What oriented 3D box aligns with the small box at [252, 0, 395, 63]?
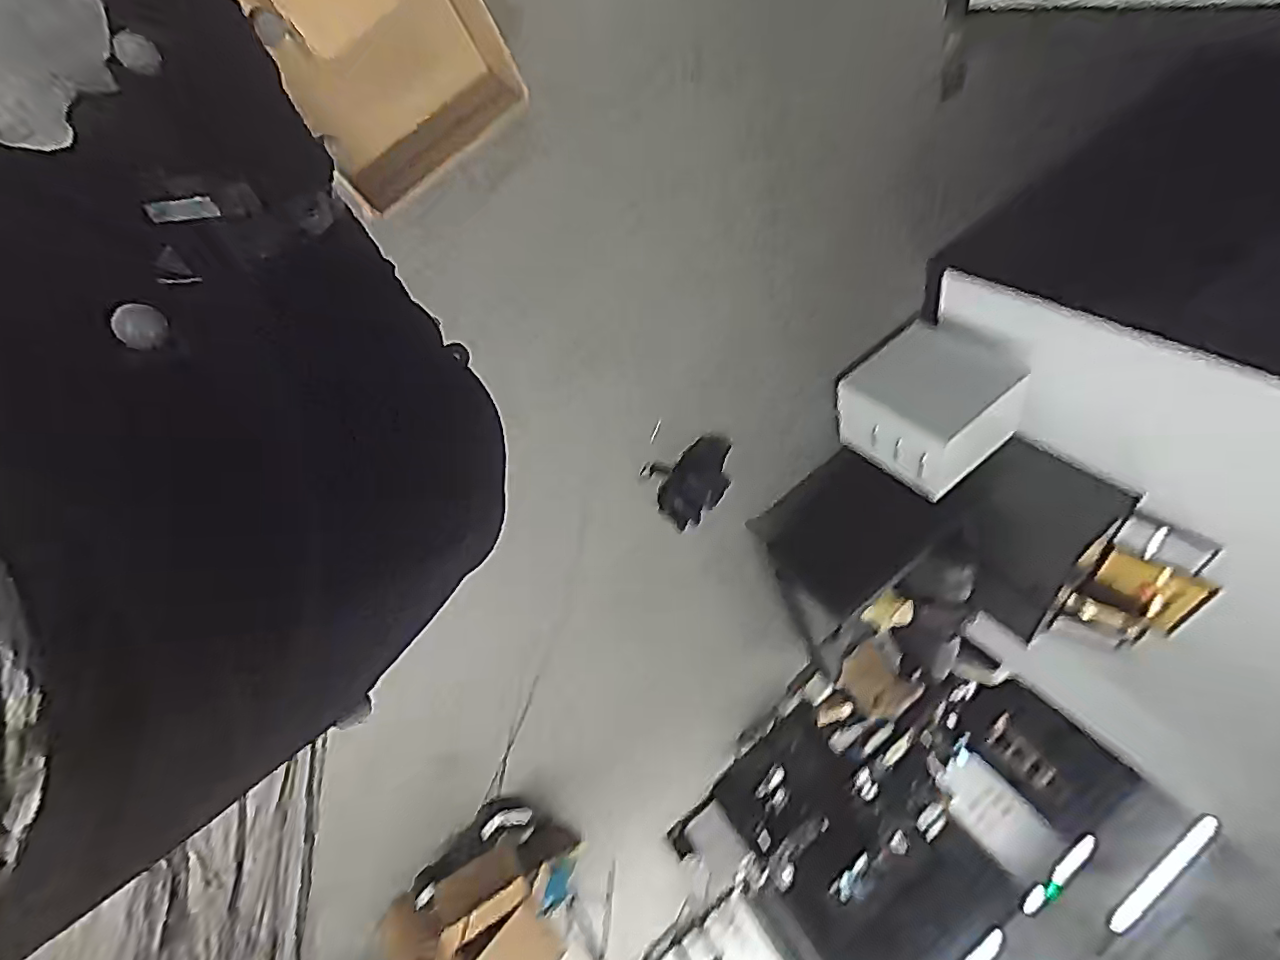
[{"bbox_3d":[-0.531,-0.801,0.854,0.179,0.176,0.168,-43,141,-5],"label":"small box"}]
